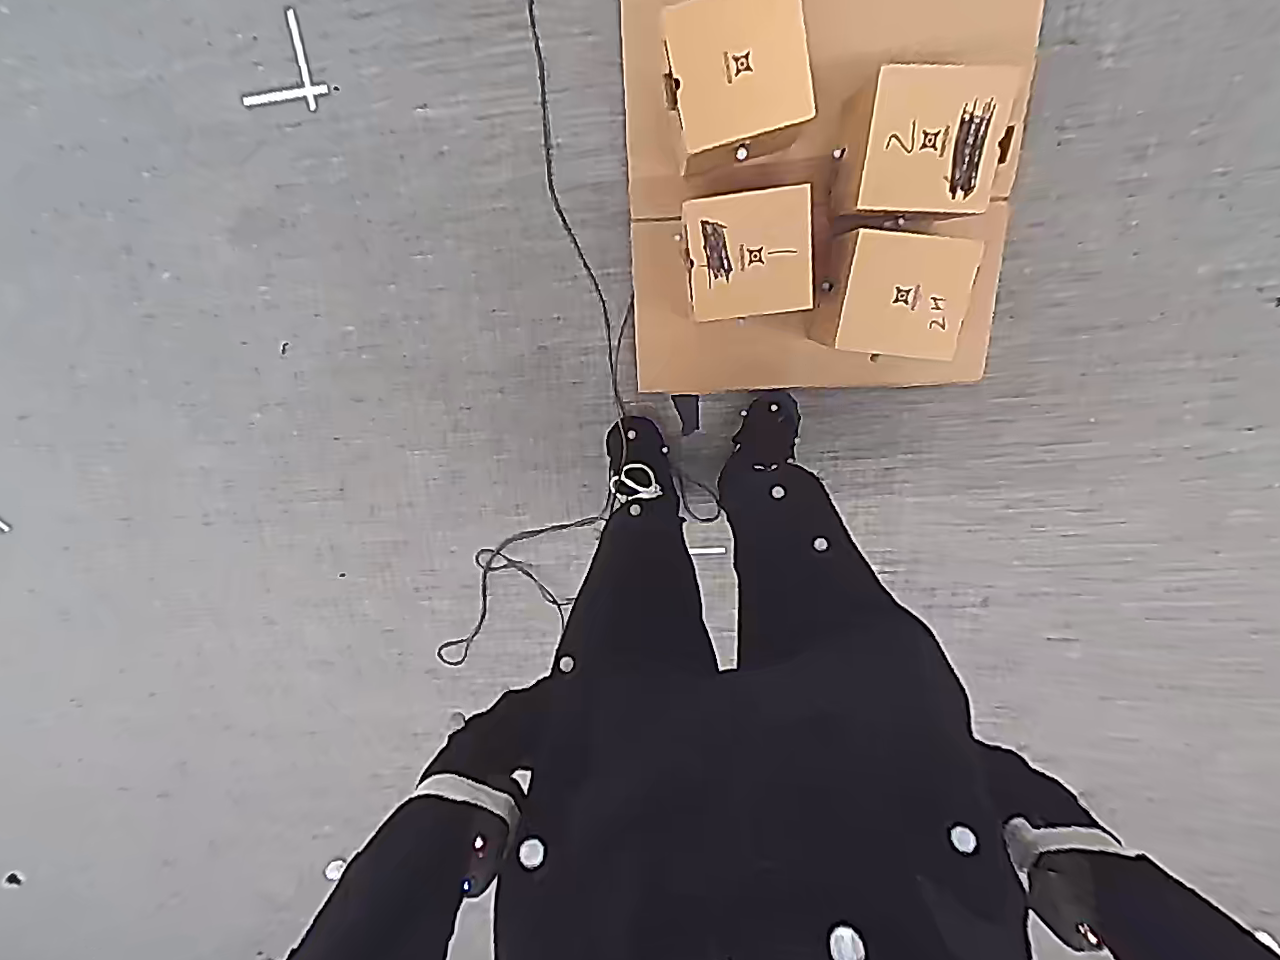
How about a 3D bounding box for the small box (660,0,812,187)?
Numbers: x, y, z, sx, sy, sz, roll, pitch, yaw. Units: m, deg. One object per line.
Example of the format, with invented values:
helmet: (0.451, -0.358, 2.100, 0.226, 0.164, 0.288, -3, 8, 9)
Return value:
small box: (0.132, -0.546, 0.780, 0.179, 0.176, 0.168, -12, 107, 9)
